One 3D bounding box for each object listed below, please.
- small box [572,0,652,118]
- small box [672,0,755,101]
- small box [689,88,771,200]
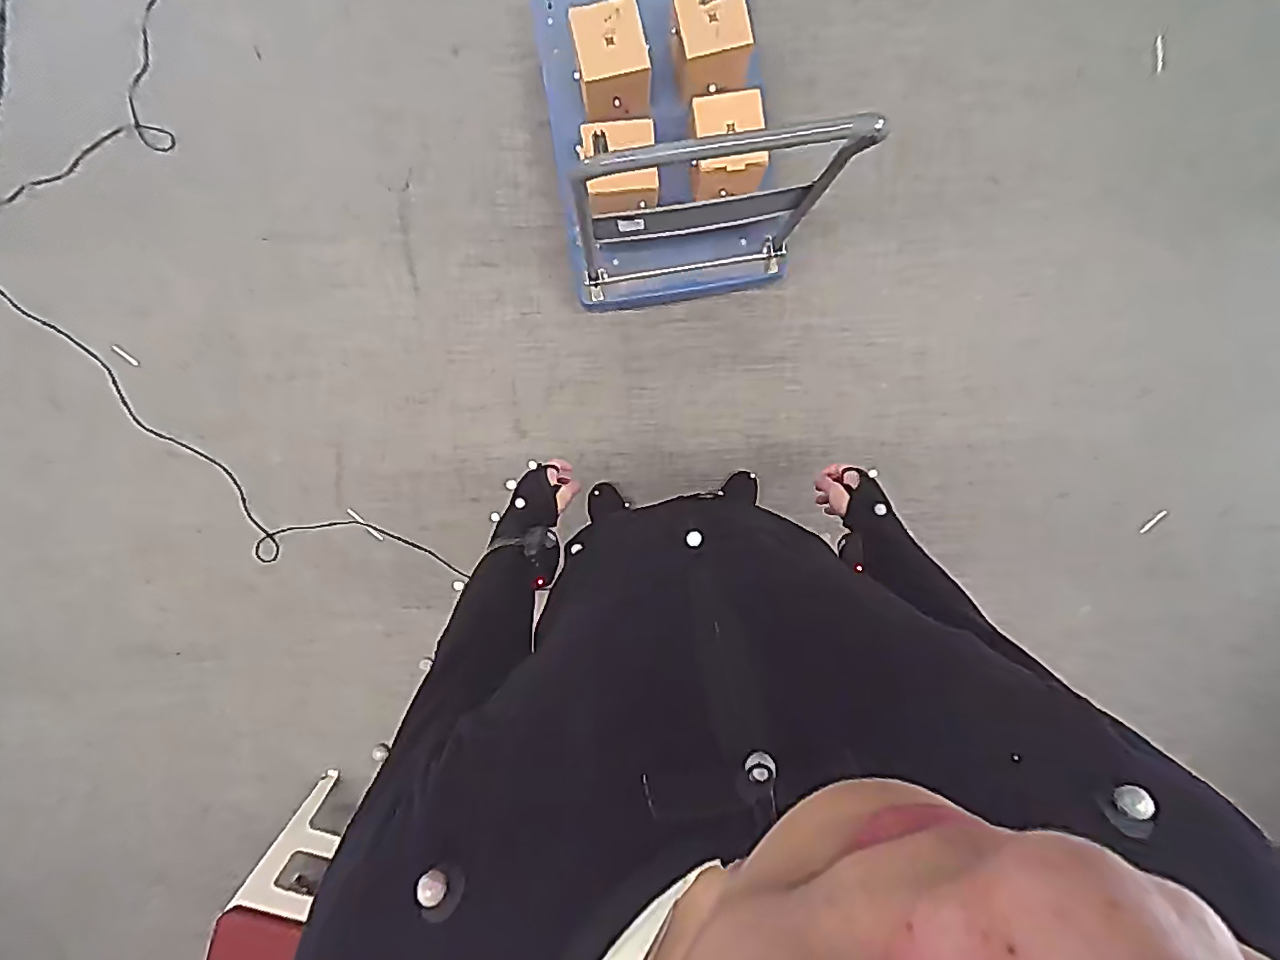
[{"bbox_3d":[-0.066,-1.058,1.371,0.168,0.176,0.179,-13,91,0],"label":"small box"},{"bbox_3d":[0.179,-1.115,1.369,0.168,0.176,0.179,-12,92,1],"label":"small box"},{"bbox_3d":[0.223,-0.848,1.378,0.168,0.176,0.179,-8,92,0],"label":"small box"}]
